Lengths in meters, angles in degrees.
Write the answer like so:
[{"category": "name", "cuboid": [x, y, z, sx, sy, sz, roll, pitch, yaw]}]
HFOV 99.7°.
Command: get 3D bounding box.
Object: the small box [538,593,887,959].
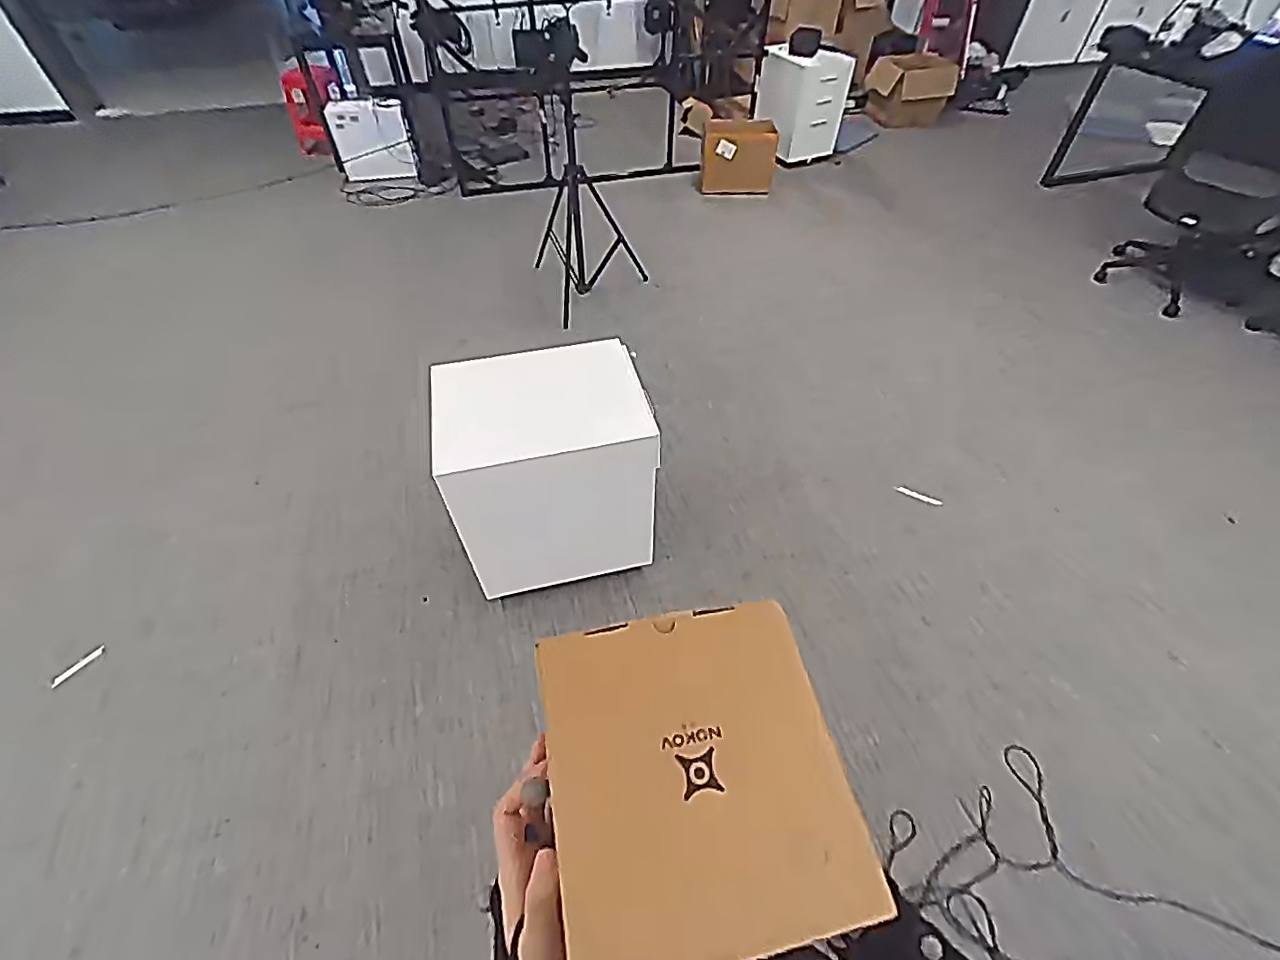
[{"category": "small box", "cuboid": [0.026, 0.203, 0.372, 0.168, 0.176, 0.179, -7, 55, -12]}]
